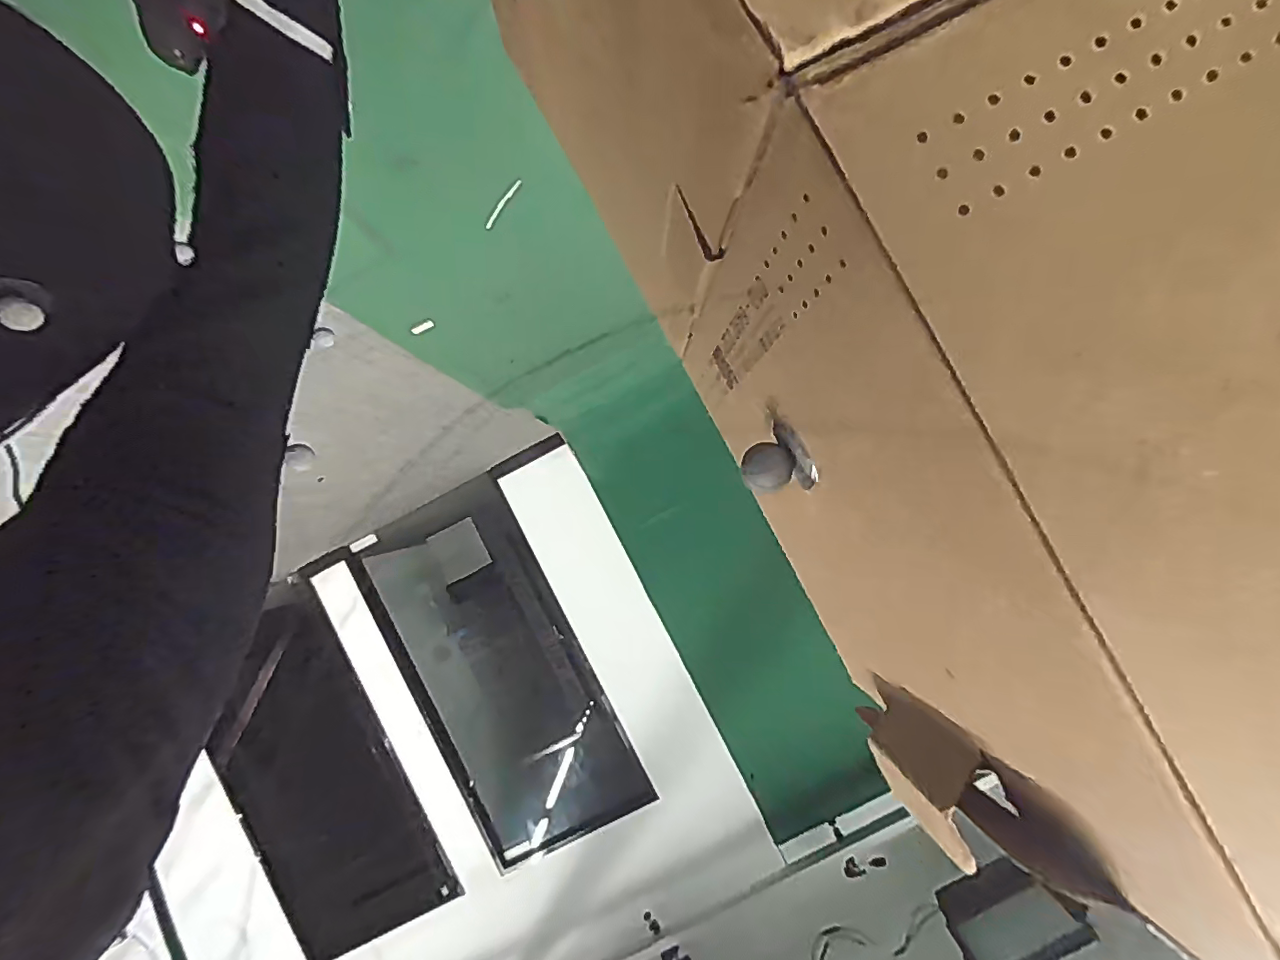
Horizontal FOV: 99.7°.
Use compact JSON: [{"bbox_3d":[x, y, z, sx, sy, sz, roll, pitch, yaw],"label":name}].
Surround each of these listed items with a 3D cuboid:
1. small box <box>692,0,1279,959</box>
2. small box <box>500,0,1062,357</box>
[{"bbox_3d":[0.140,-0.027,0.174,0.179,0.176,0.168,-28,179,-2],"label":"small box"},{"bbox_3d":[0.060,-0.171,0.176,0.179,0.176,0.168,-28,179,-2],"label":"small box"}]
